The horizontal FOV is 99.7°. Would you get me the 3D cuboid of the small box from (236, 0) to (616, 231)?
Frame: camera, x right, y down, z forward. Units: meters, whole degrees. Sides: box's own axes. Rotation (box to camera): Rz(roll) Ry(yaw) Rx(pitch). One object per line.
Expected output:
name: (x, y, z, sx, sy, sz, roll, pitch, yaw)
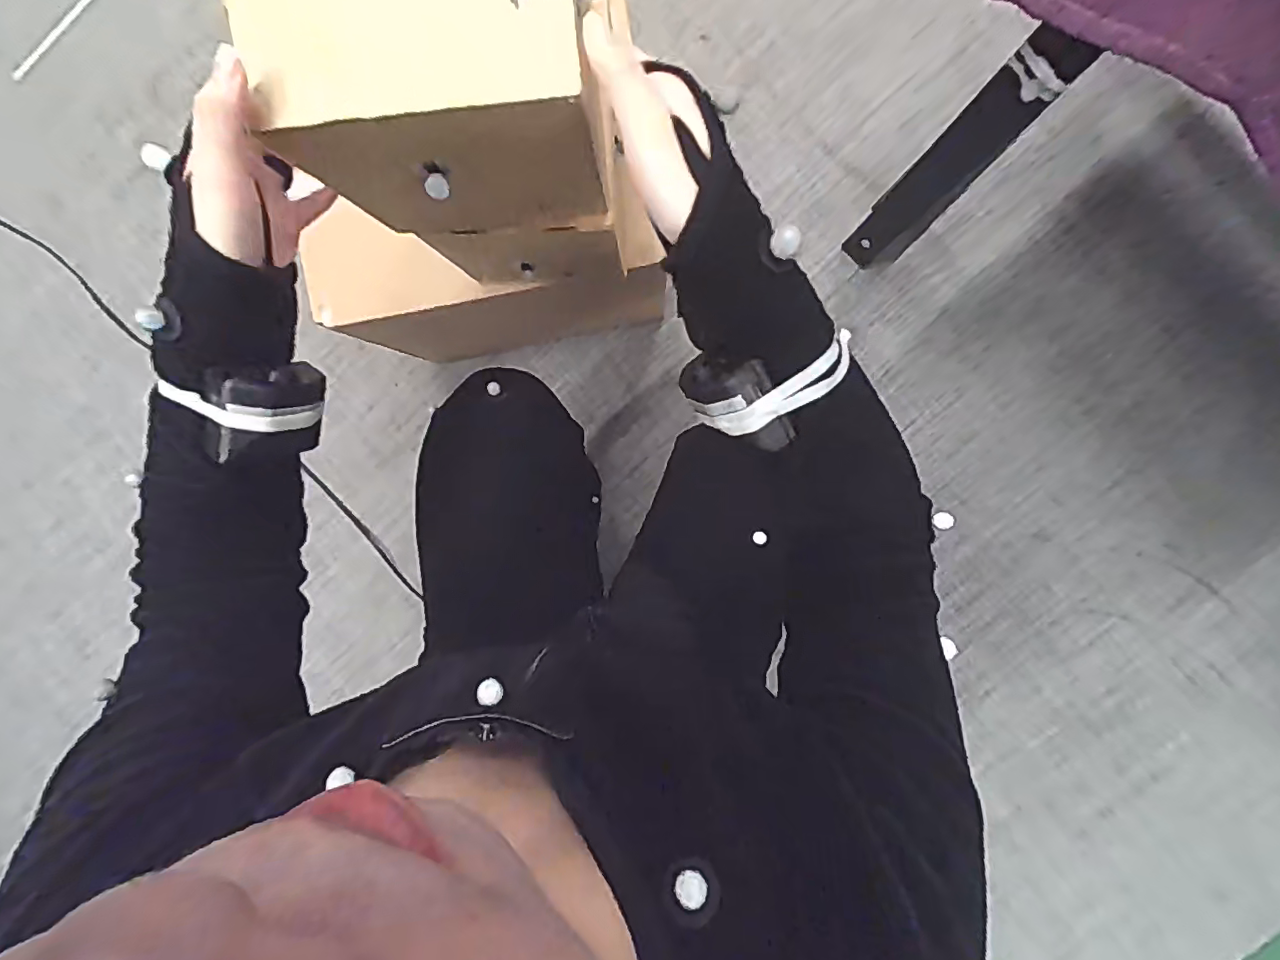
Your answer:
small box: (-0.116, -0.273, 0.345, 0.179, 0.176, 0.168, -5, 99, 3)
